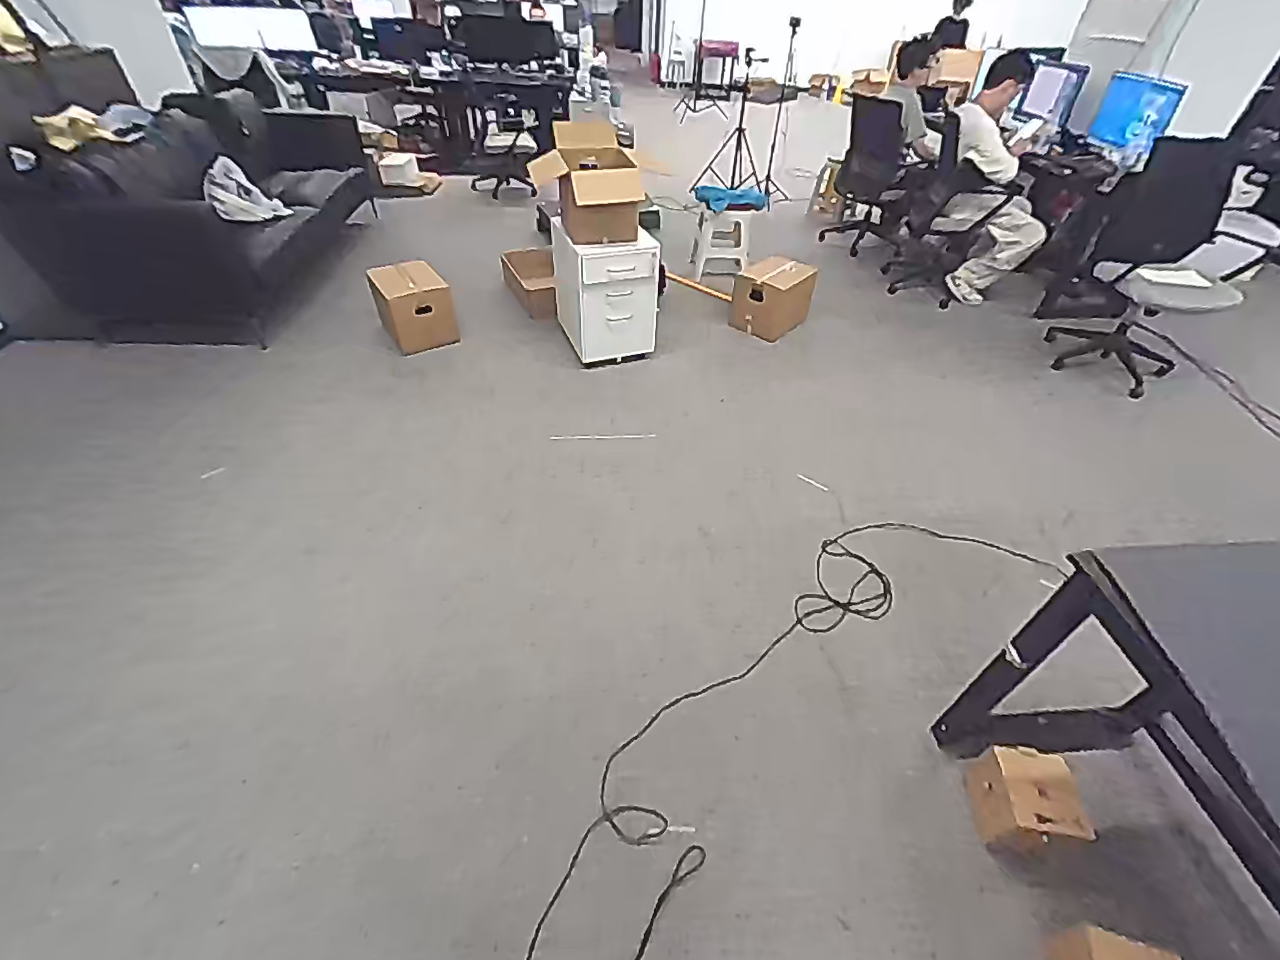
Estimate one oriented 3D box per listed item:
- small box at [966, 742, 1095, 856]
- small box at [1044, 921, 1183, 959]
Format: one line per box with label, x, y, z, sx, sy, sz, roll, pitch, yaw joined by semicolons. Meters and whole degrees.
small box;0.918;0.764;1.294;0.168;0.176;0.179;7;42;6
small box;0.924;0.997;1.037;0.168;0.176;0.179;13;42;11
